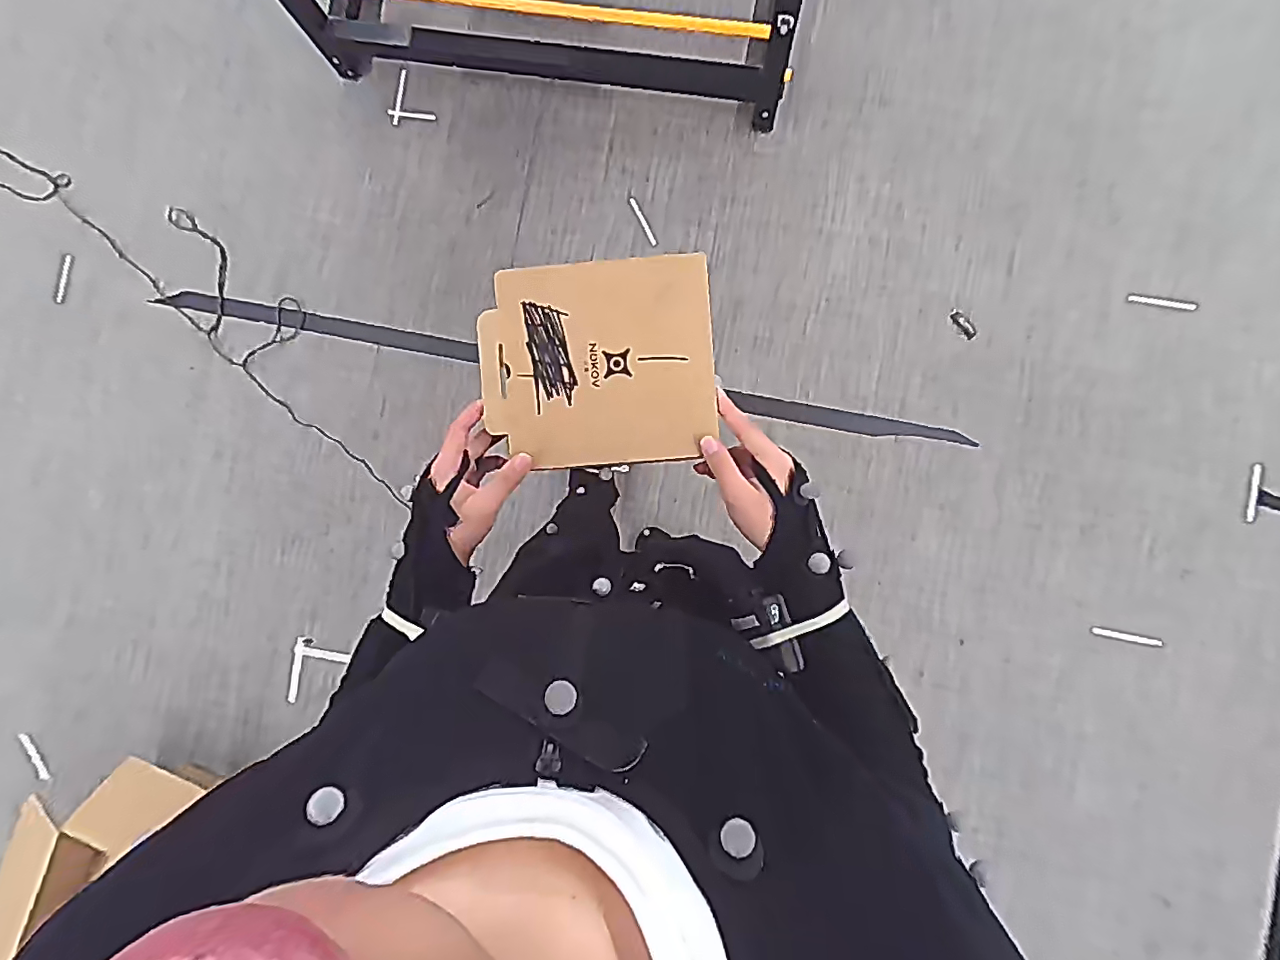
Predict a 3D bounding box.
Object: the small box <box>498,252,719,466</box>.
[{"bbox_3d":[-0.022,-0.100,0.522,0.179,0.176,0.168,-4,92,2],"label":"small box"}]
